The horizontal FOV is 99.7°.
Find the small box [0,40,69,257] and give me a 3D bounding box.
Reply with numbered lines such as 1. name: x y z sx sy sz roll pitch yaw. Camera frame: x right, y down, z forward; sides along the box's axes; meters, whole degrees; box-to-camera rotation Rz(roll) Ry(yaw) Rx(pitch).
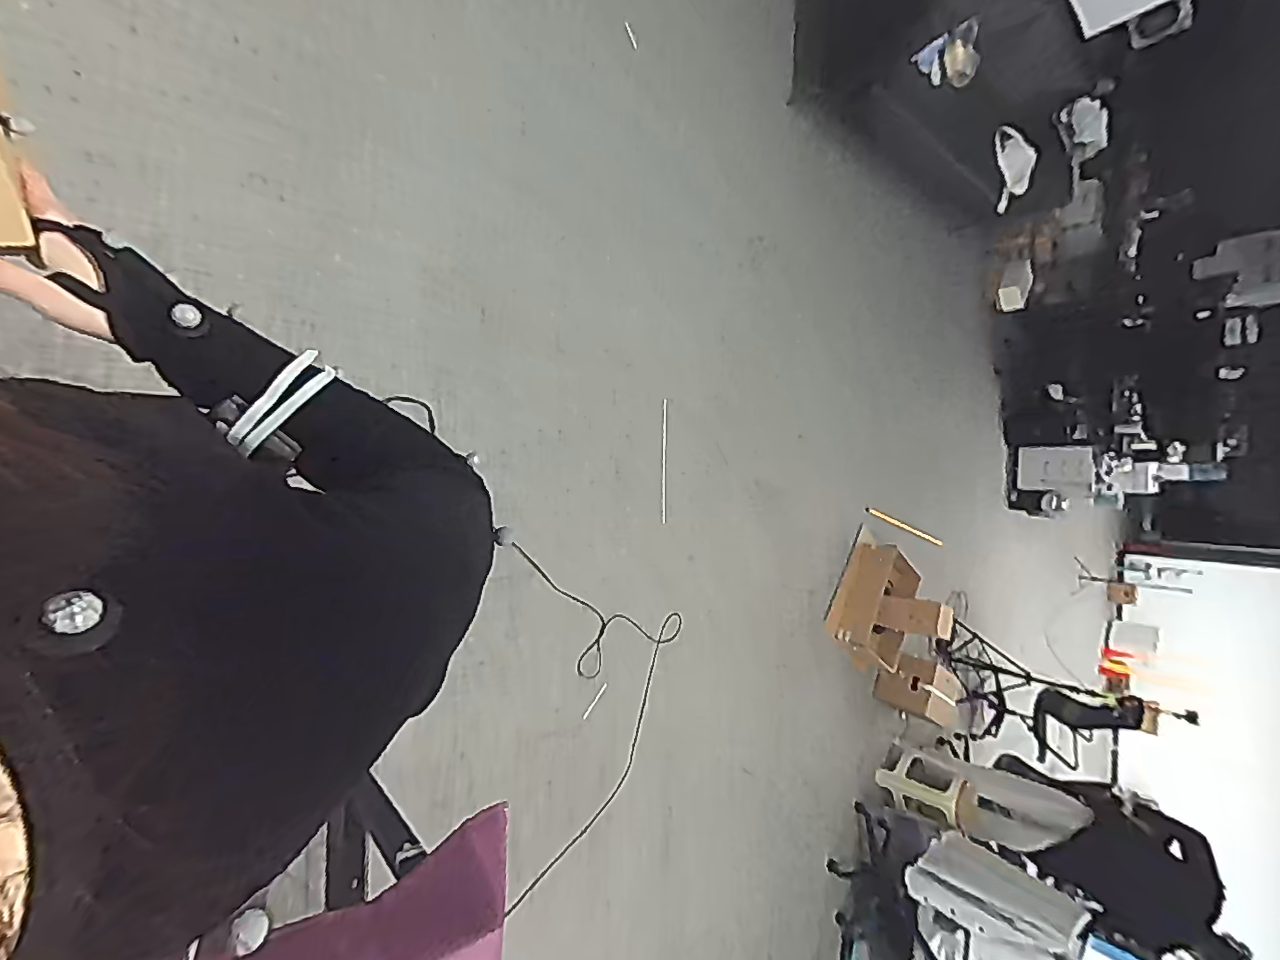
1. small box: -0.514 -0.238 0.345 0.168 0.176 0.179 -16 117 -36
